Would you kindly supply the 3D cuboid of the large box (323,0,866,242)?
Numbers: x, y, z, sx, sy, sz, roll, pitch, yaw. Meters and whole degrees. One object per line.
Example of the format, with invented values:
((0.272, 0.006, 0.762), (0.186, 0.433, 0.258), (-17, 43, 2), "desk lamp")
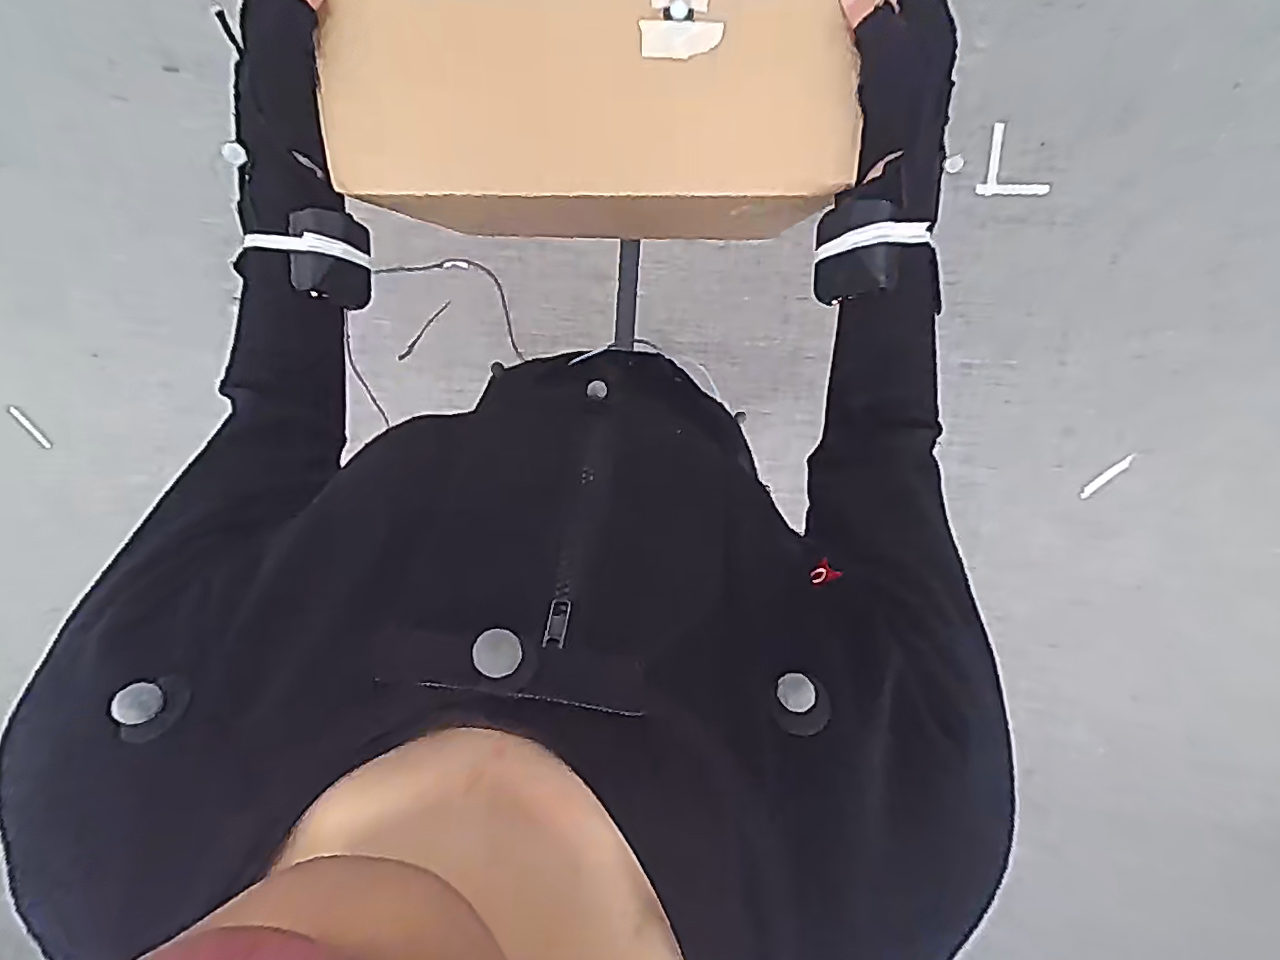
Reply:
((-0.033, -0.420, 0.528), (0.408, 0.320, 0.320), (1, 109, 1), "large box")
